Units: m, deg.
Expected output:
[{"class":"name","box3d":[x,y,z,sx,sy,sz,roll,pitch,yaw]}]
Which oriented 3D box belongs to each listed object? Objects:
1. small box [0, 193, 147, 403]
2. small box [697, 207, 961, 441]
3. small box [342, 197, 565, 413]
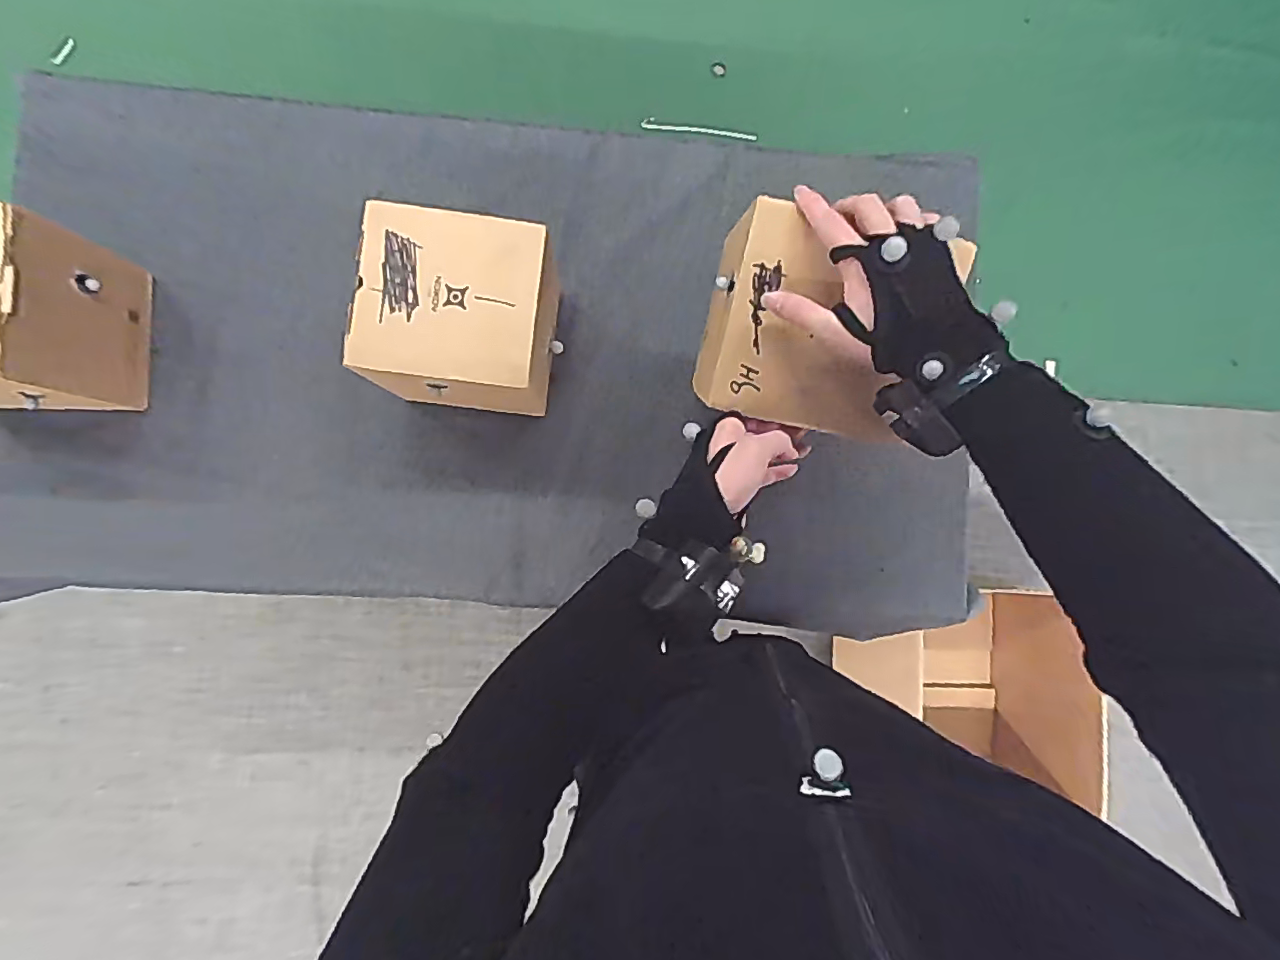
[{"class":"small box","box3d":[-0.663,-0.177,0.556,0.179,0.176,0.168,0,87,-3]},{"class":"small box","box3d":[0.159,-0.146,0.524,0.179,0.176,0.168,10,106,-1]},{"class":"small box","box3d":[-0.189,-0.176,0.600,0.179,0.176,0.168,10,89,-3]}]
